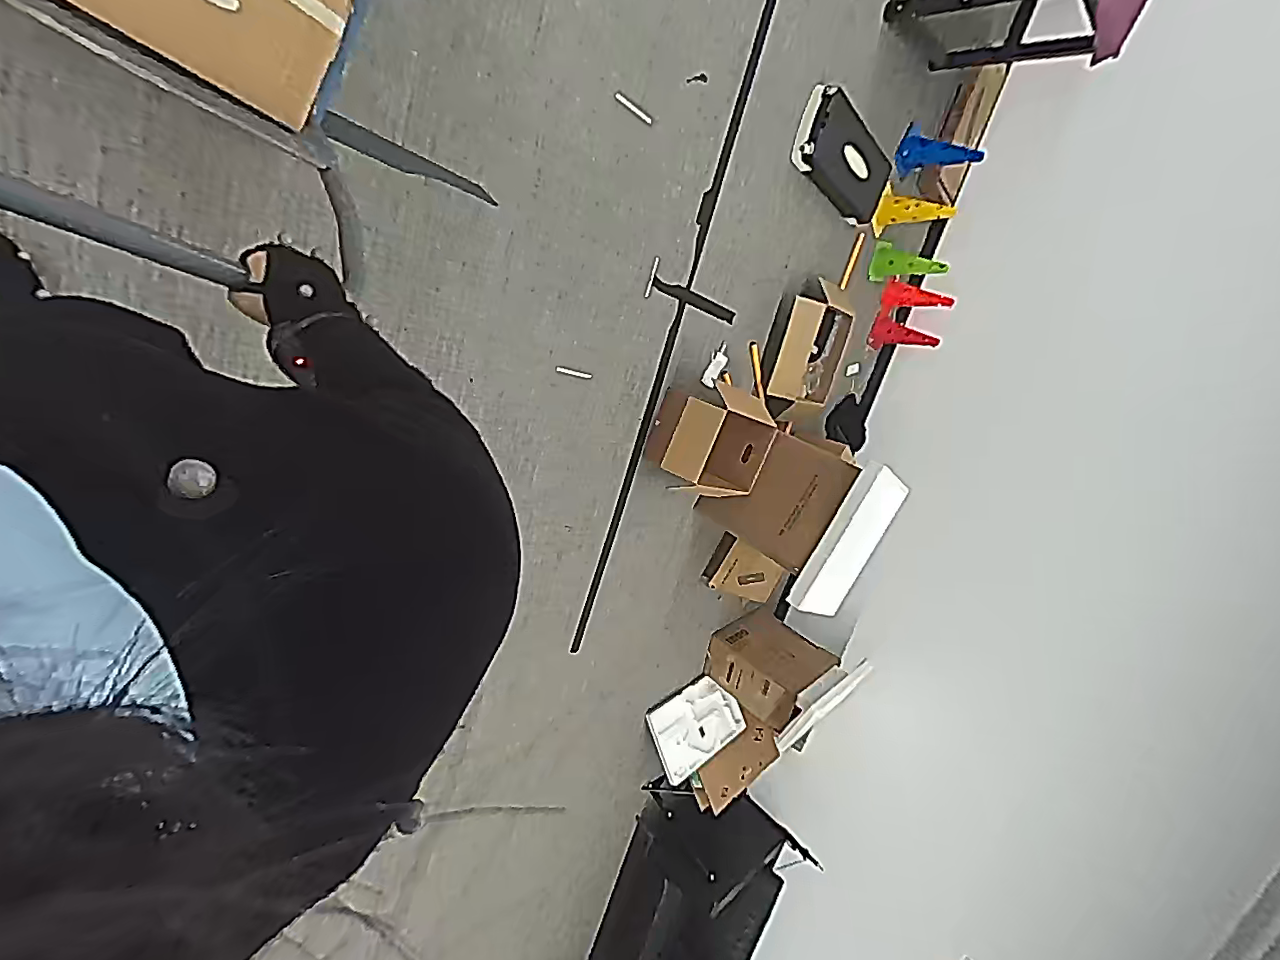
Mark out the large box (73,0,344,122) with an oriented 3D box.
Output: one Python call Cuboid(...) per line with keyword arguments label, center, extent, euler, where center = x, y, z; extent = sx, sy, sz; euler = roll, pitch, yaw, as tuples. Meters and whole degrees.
Cuboid(label="large box", center=(-0.628, -0.769, 0.685), extent=(0.408, 0.320, 0.320), euler=(13, 123, -51))
